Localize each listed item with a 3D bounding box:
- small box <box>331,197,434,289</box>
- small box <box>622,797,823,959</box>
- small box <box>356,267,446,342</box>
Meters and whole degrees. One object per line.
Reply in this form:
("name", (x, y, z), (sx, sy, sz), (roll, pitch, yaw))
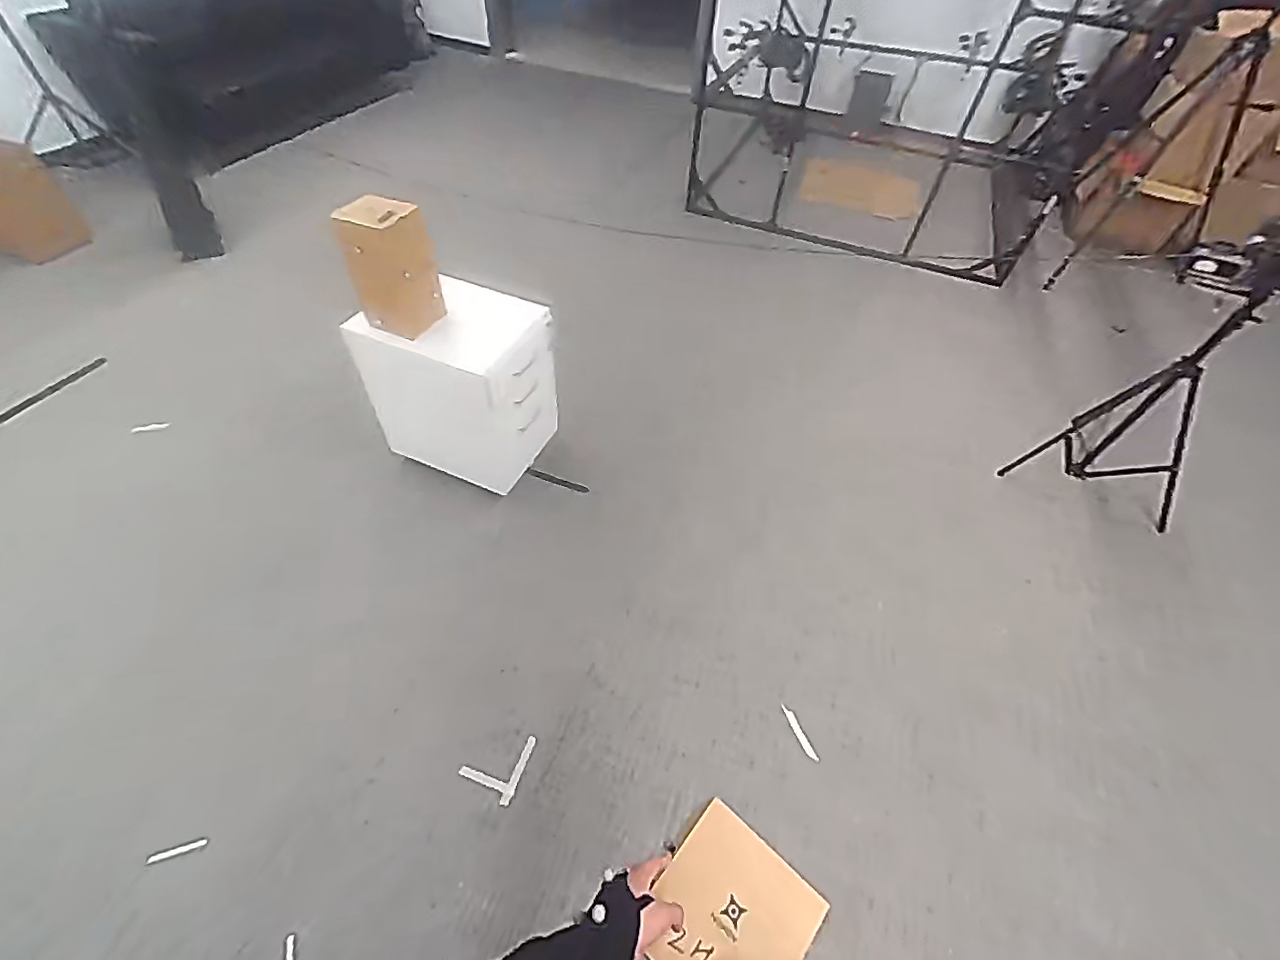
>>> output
("small box", (-0.703, -0.655, 1.504), (0.179, 0.176, 0.168), (17, 49, 12))
("small box", (0.089, 0.532, 0.669), (0.168, 0.176, 0.179), (37, 61, 21))
("small box", (-0.708, -0.547, 1.627), (0.168, 0.176, 0.179), (21, 51, 13))
